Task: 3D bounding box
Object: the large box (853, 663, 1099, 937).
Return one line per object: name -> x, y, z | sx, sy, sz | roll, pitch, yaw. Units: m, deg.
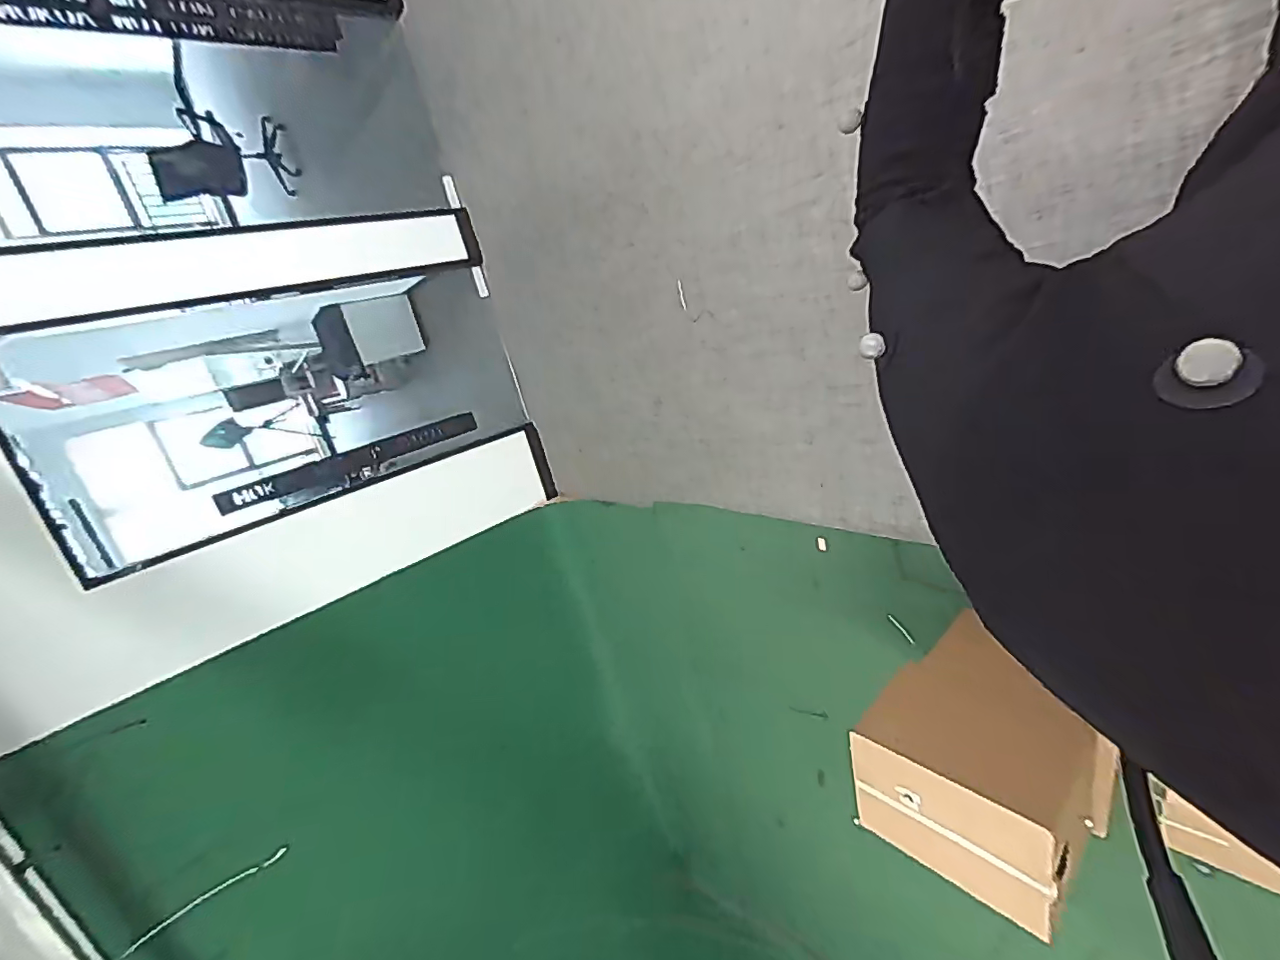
large box -> 0.773, 0.697, 1.259 | 0.408, 0.320, 0.320 | 11, 118, 51
